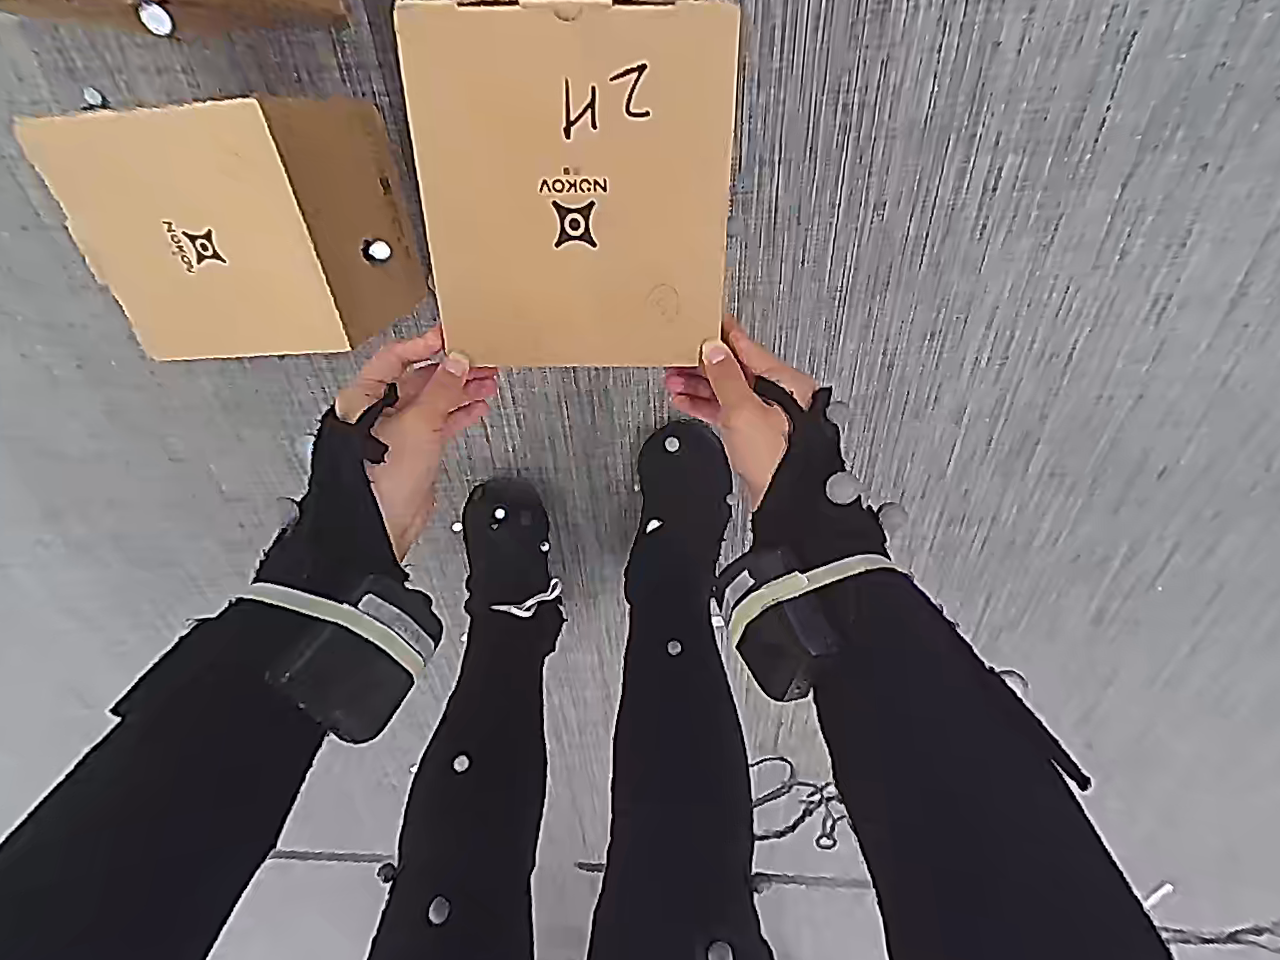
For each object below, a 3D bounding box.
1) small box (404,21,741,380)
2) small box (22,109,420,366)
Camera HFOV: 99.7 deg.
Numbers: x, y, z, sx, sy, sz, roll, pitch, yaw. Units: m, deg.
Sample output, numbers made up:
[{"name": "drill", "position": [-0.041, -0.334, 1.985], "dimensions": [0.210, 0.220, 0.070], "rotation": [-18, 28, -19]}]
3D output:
[{"name": "small box", "position": [-0.033, -0.176, 0.367], "dimensions": [0.168, 0.176, 0.179], "rotation": [0, 116, 0]}, {"name": "small box", "position": [-0.307, -0.208, 0.454], "dimensions": [0.179, 0.176, 0.168], "rotation": [-2, 124, 5]}]
